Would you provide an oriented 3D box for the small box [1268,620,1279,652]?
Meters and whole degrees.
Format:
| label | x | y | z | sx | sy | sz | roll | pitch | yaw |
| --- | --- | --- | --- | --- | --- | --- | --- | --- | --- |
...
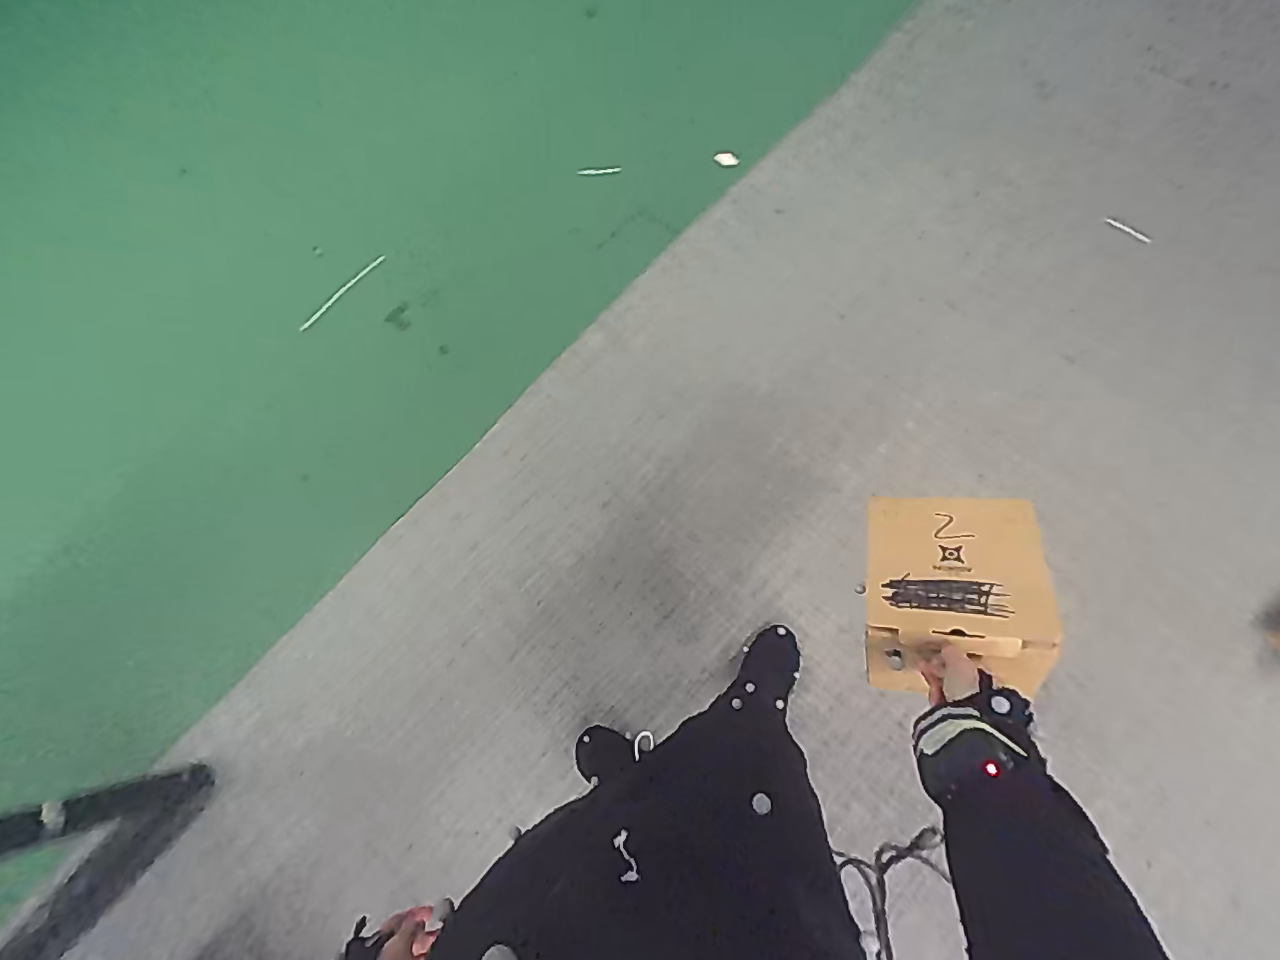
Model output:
| label | x | y | z | sx | sy | sz | roll | pitch | yaw |
| --- | --- | --- | --- | --- | --- | --- | --- | --- | --- |
| small box | 1.354 | 0.309 | 0.991 | 0.179 | 0.176 | 0.168 | -28 | 73 | -2 |
